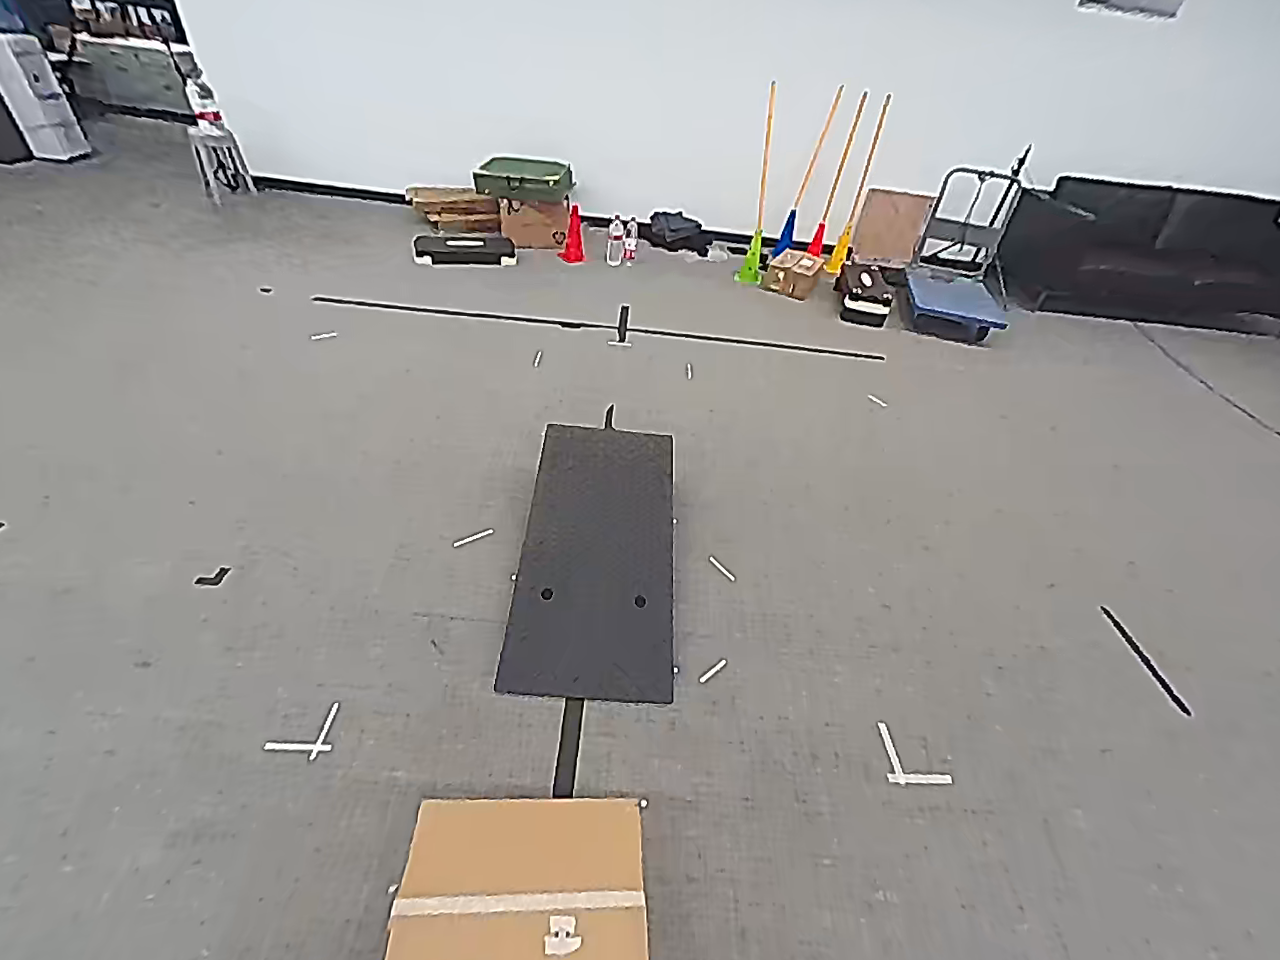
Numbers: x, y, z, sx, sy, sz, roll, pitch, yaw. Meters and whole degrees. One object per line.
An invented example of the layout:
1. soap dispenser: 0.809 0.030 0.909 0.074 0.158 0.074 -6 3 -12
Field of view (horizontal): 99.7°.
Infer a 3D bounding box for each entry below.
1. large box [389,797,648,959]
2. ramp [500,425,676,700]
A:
1. large box: -0.206 0.806 0.986 0.408 0.320 0.320 4 41 -6
2. ramp: -0.121 0.202 1.791 0.509 0.206 0.991 5 41 -5
